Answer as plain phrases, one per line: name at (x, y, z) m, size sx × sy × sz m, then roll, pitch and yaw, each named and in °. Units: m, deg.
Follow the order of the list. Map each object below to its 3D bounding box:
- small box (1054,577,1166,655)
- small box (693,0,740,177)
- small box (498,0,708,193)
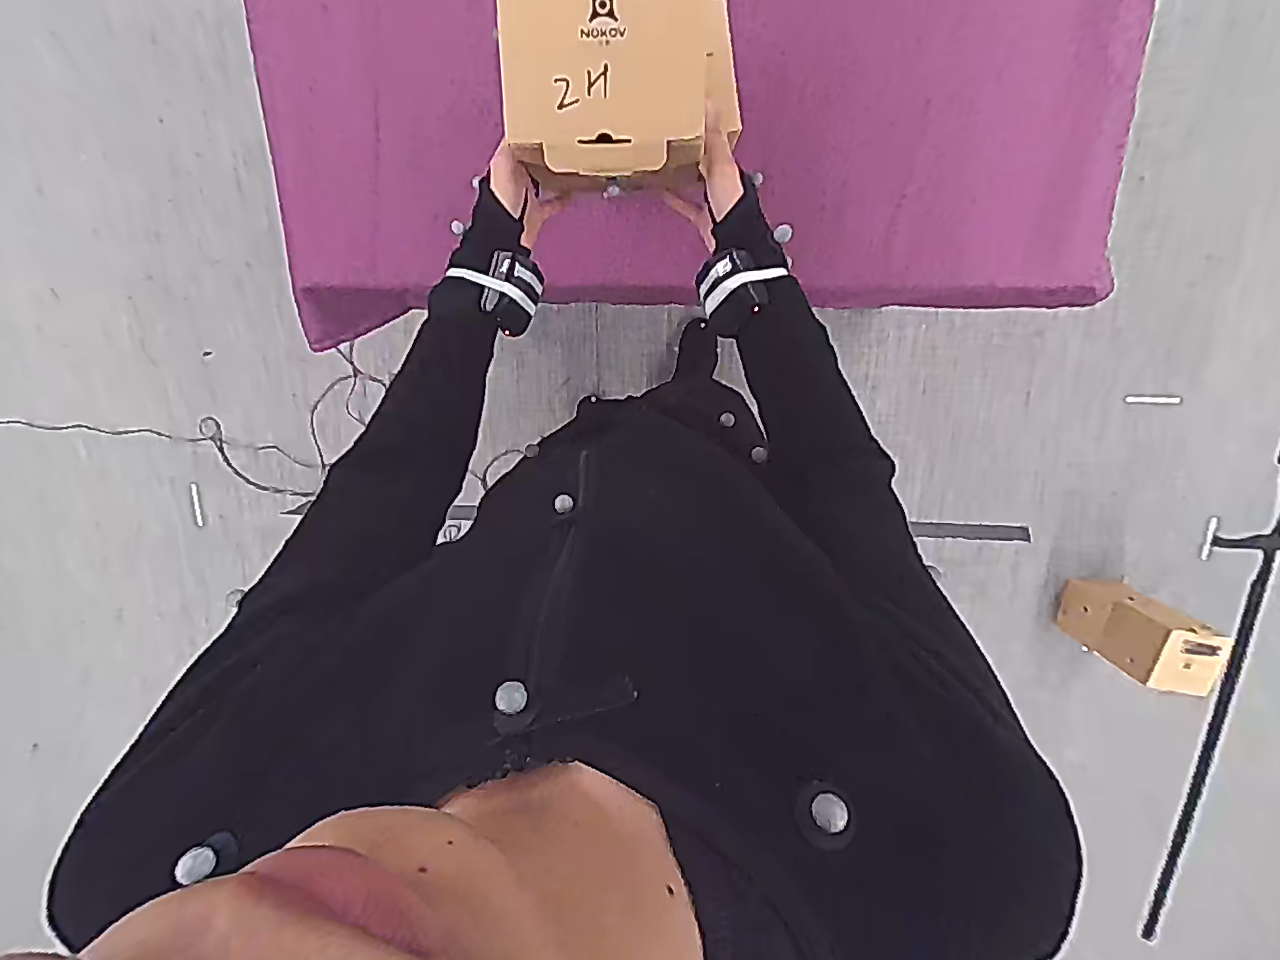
small box at (1.408, 0.404, 1.634) m, size 0.179 × 0.176 × 0.168 m, roll 5°, pitch 105°, yaw 0°
small box at (0.019, -0.485, 0.681) m, size 0.179 × 0.176 × 0.168 m, roll -10°, pitch 104°, yaw 3°
small box at (-0.027, -0.382, 0.497) m, size 0.168 × 0.176 × 0.179 m, roll 1°, pitch 106°, yaw 2°
